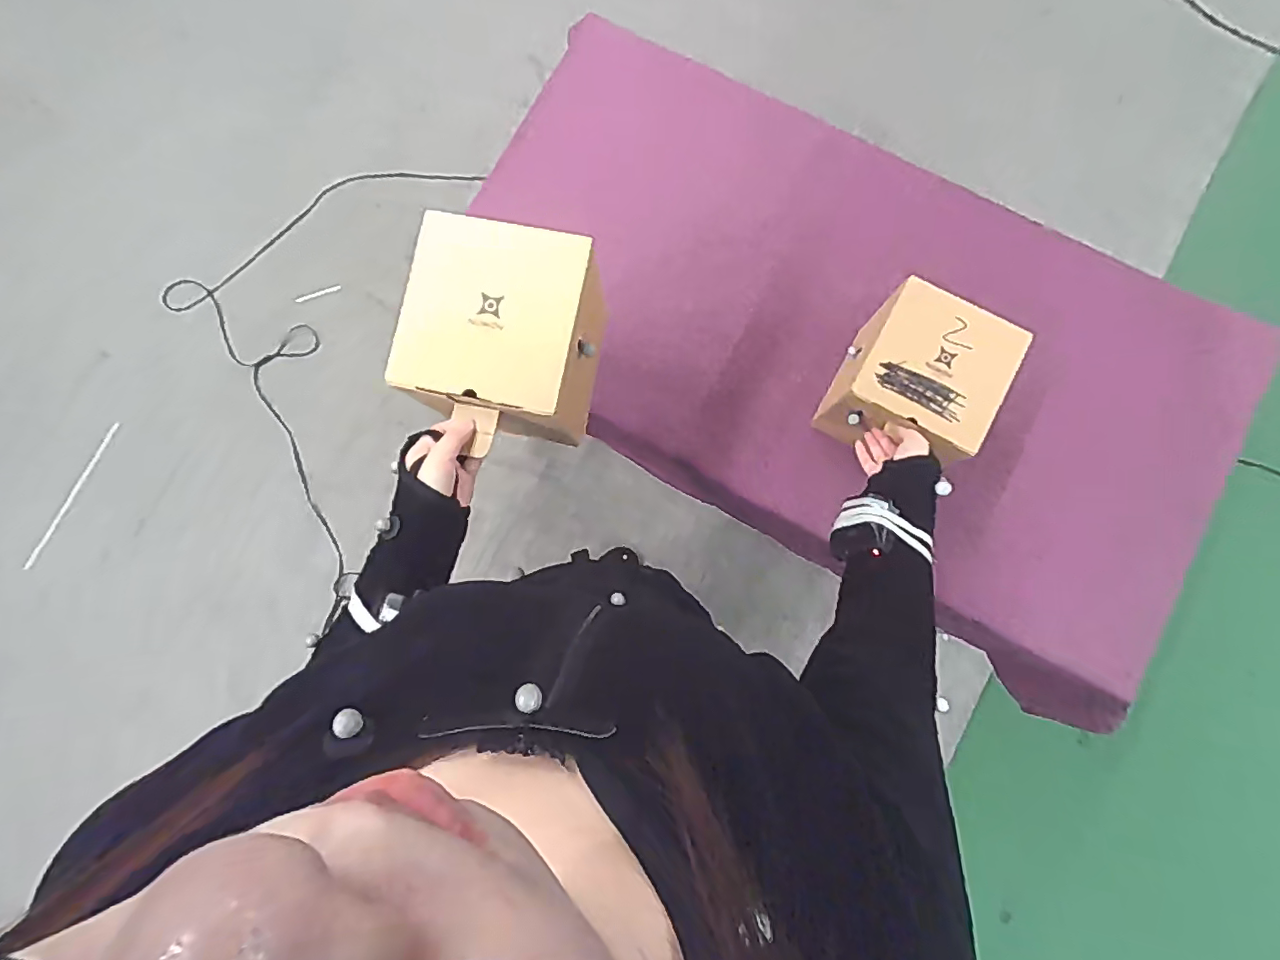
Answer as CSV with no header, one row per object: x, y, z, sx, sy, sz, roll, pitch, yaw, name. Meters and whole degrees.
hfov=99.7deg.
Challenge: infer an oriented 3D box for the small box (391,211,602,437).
-0.141,-0.158,0.600,0.168,0.176,0.179,11,86,3,small box
